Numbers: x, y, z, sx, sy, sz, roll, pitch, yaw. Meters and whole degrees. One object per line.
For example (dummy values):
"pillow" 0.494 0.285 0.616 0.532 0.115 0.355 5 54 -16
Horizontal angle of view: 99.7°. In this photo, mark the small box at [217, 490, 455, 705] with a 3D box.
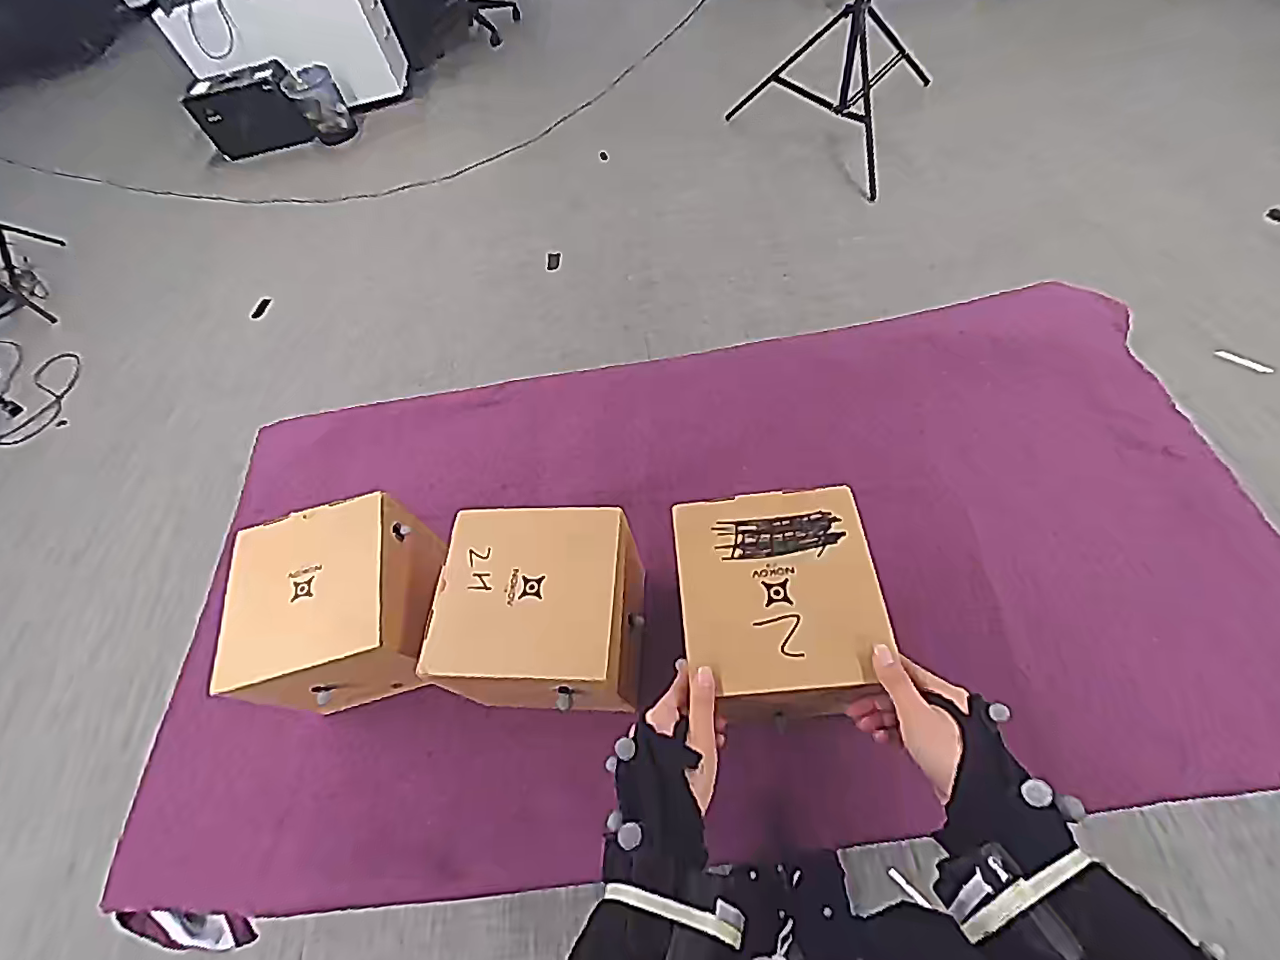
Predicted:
"small box" -0.324 0.143 0.614 0.168 0.176 0.179 -17 58 0
